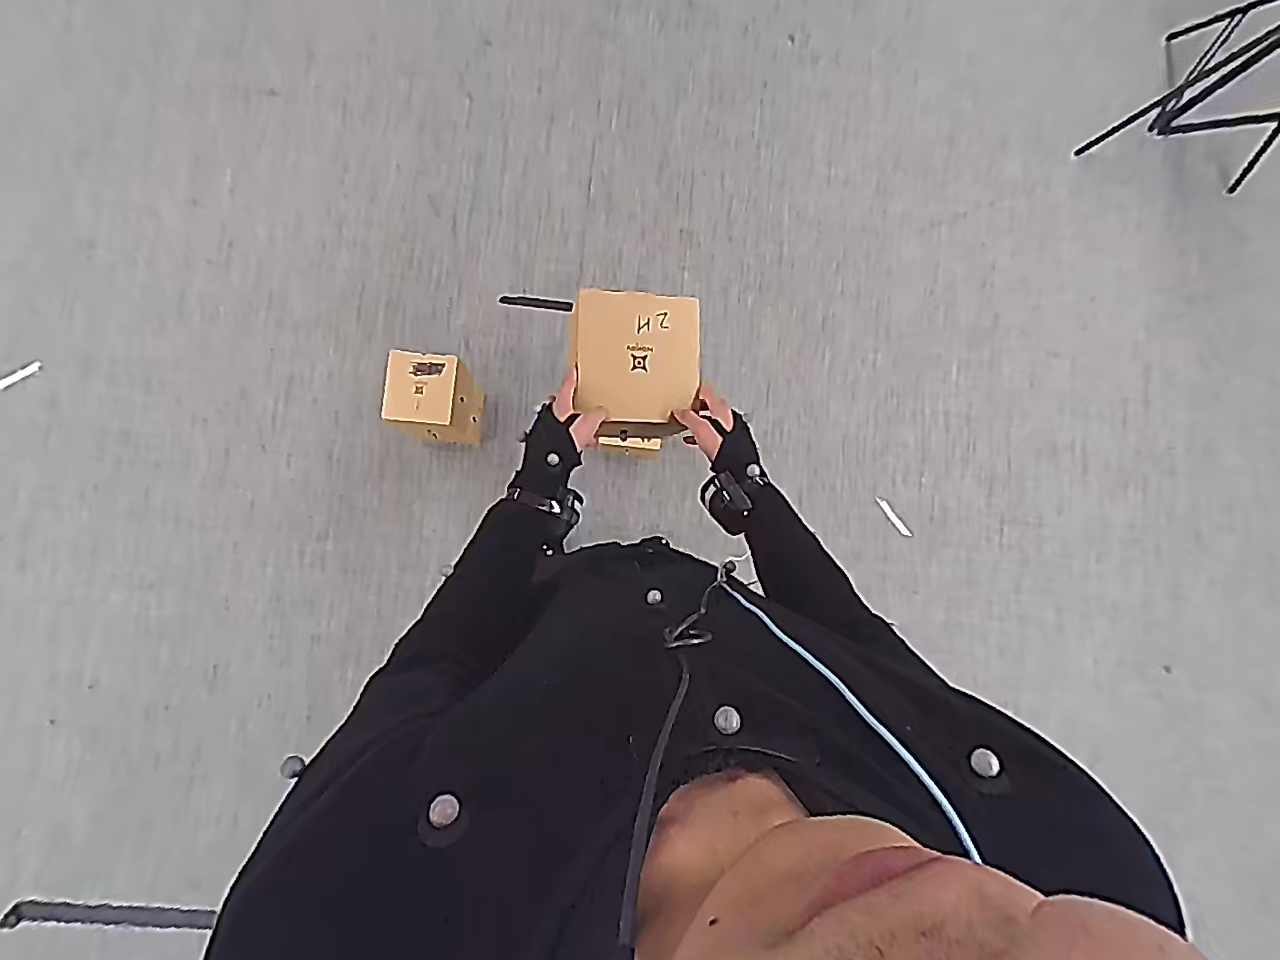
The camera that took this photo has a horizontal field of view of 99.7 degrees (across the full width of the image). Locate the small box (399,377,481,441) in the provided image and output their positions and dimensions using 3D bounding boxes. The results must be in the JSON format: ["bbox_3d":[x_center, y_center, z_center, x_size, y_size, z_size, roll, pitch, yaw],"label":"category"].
[{"bbox_3d":[-0.563,-0.207,1.546,0.179,0.176,0.168,5,85,-4],"label":"small box"}]

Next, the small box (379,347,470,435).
[{"bbox_3d":[-0.542,-0.222,1.384,0.168,0.176,0.179,5,86,-4],"label":"small box"}]

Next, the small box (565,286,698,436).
[{"bbox_3d":[-0.019,-0.159,0.786,0.168,0.176,0.179,1,87,-13],"label":"small box"}]
